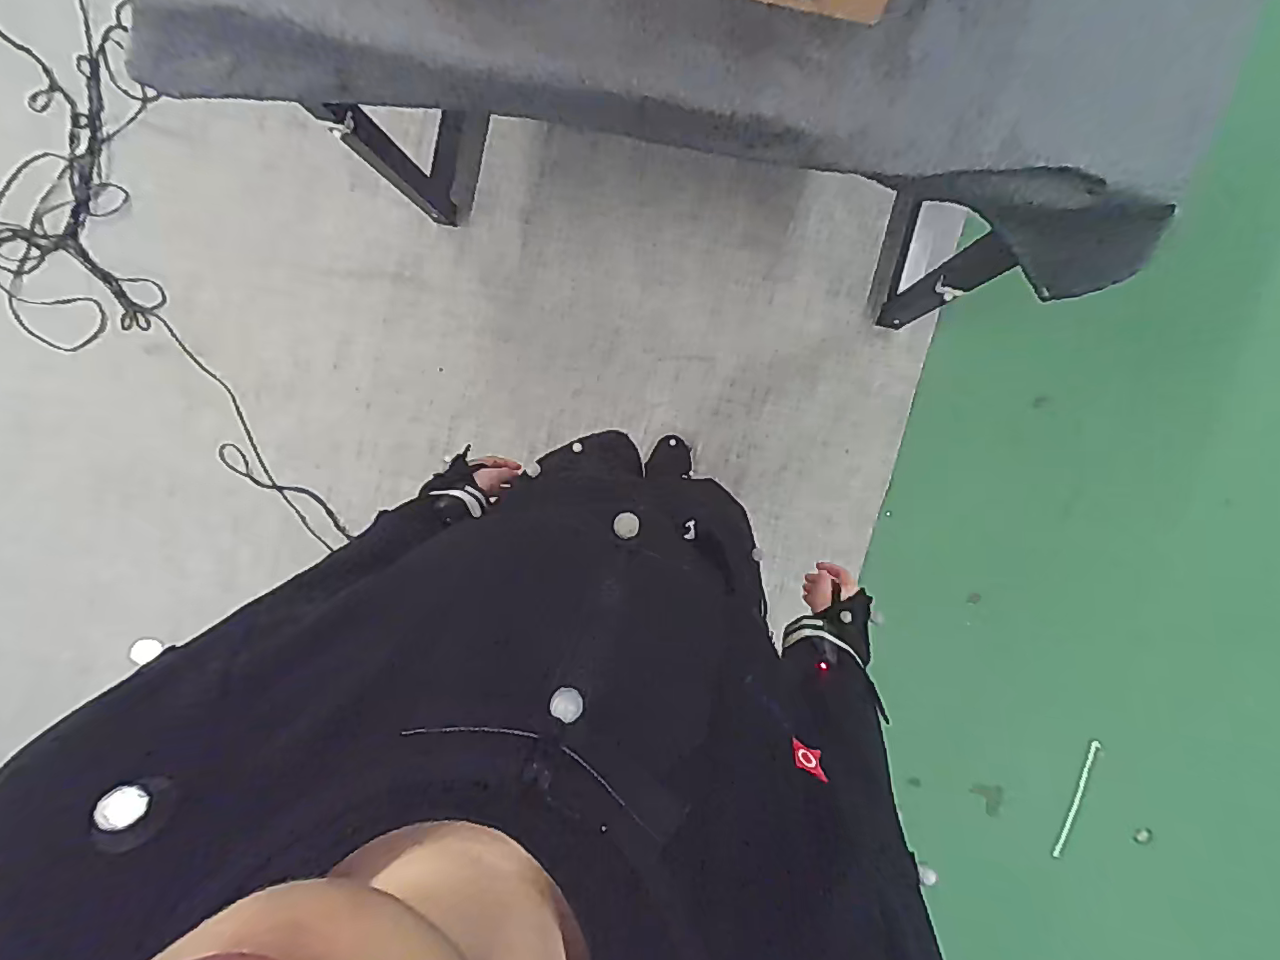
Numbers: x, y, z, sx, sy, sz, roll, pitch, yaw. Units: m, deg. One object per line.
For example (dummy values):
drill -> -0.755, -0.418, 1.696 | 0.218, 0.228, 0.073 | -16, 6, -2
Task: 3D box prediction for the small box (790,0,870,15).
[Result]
small box -> 0.183, -0.583, 0.494 | 0.179, 0.176, 0.168 | 15, 95, 2
